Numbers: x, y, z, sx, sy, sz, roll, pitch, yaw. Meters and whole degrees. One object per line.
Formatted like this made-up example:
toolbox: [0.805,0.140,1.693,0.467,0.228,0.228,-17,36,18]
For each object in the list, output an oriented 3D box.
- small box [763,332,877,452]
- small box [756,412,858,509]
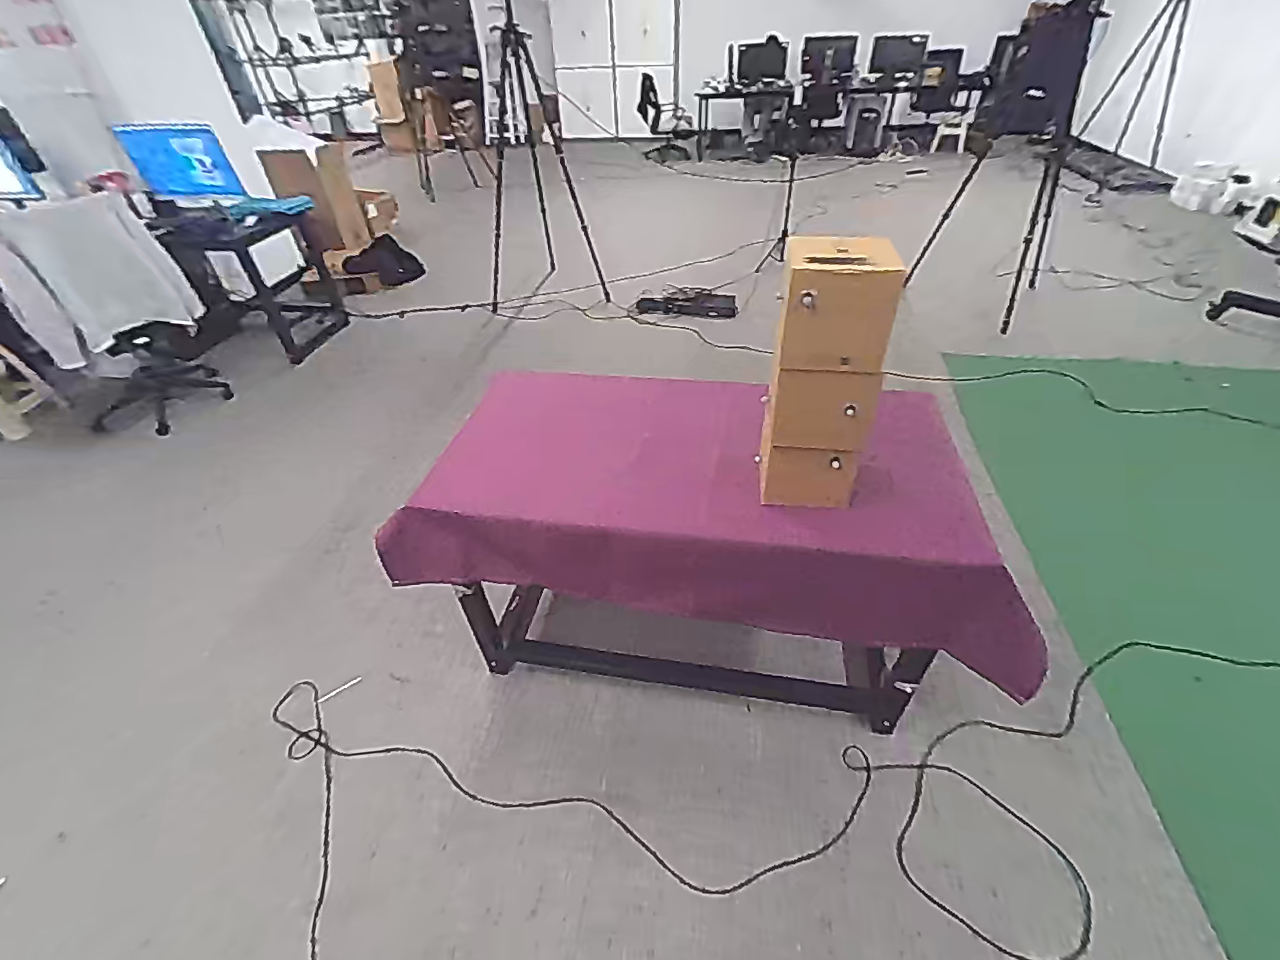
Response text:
small box: [0.334,-0.168,1.037,0.179,0.176,0.168,4,39,9]
small box: [0.346,-0.052,1.153,0.179,0.176,0.168,3,39,7]
